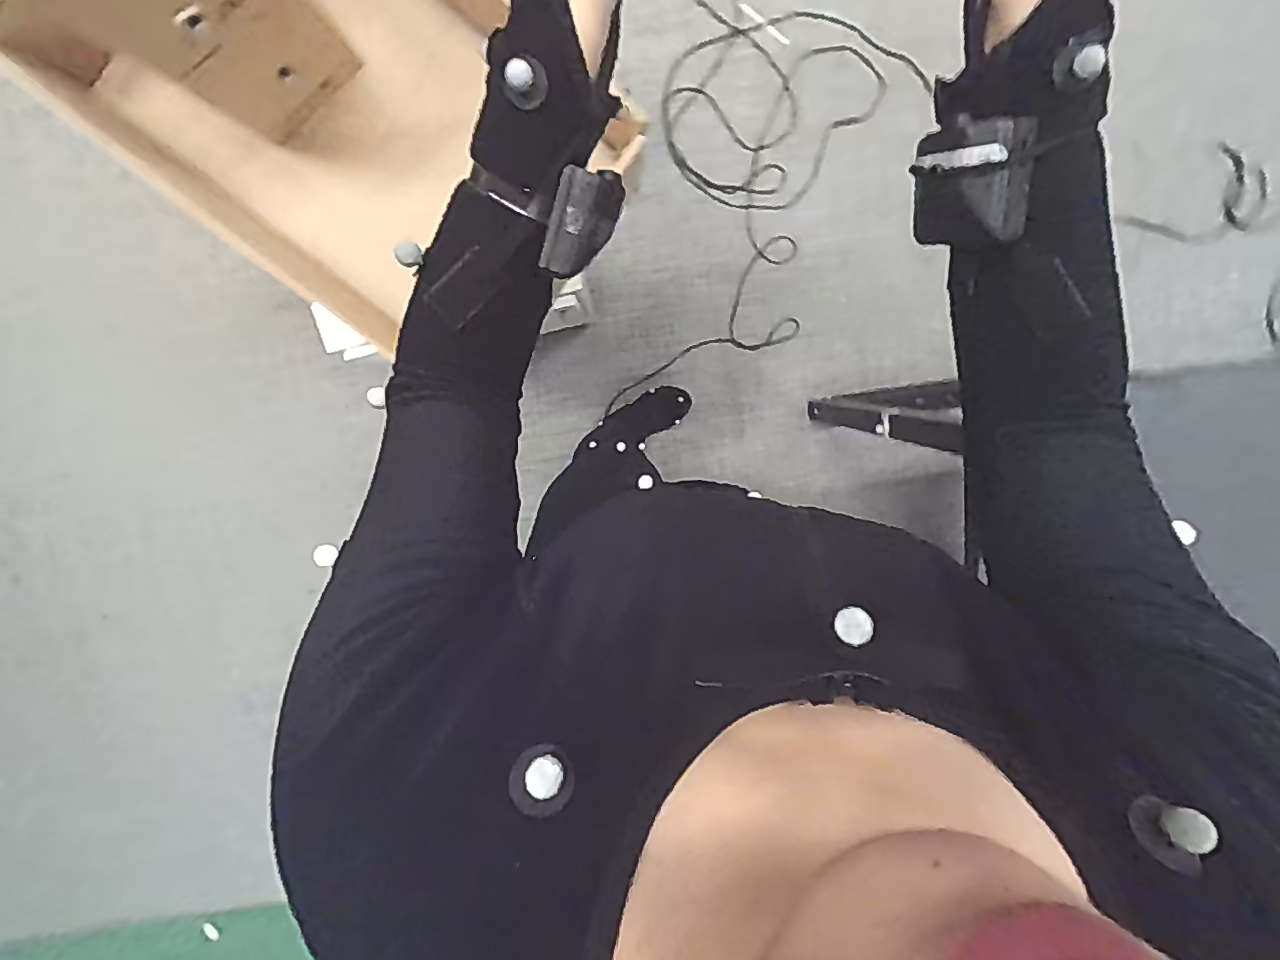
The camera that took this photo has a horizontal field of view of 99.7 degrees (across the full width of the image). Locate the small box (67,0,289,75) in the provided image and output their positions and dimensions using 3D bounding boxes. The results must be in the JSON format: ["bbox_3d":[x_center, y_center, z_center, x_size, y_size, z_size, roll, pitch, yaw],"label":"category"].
[{"bbox_3d":[-0.450,-0.506,0.458,0.168,0.176,0.179,-34,102,8],"label":"small box"}]

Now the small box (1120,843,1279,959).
[{"bbox_3d":[0.719,0.576,0.622,0.168,0.176,0.179,23,99,-8],"label":"small box"}]
